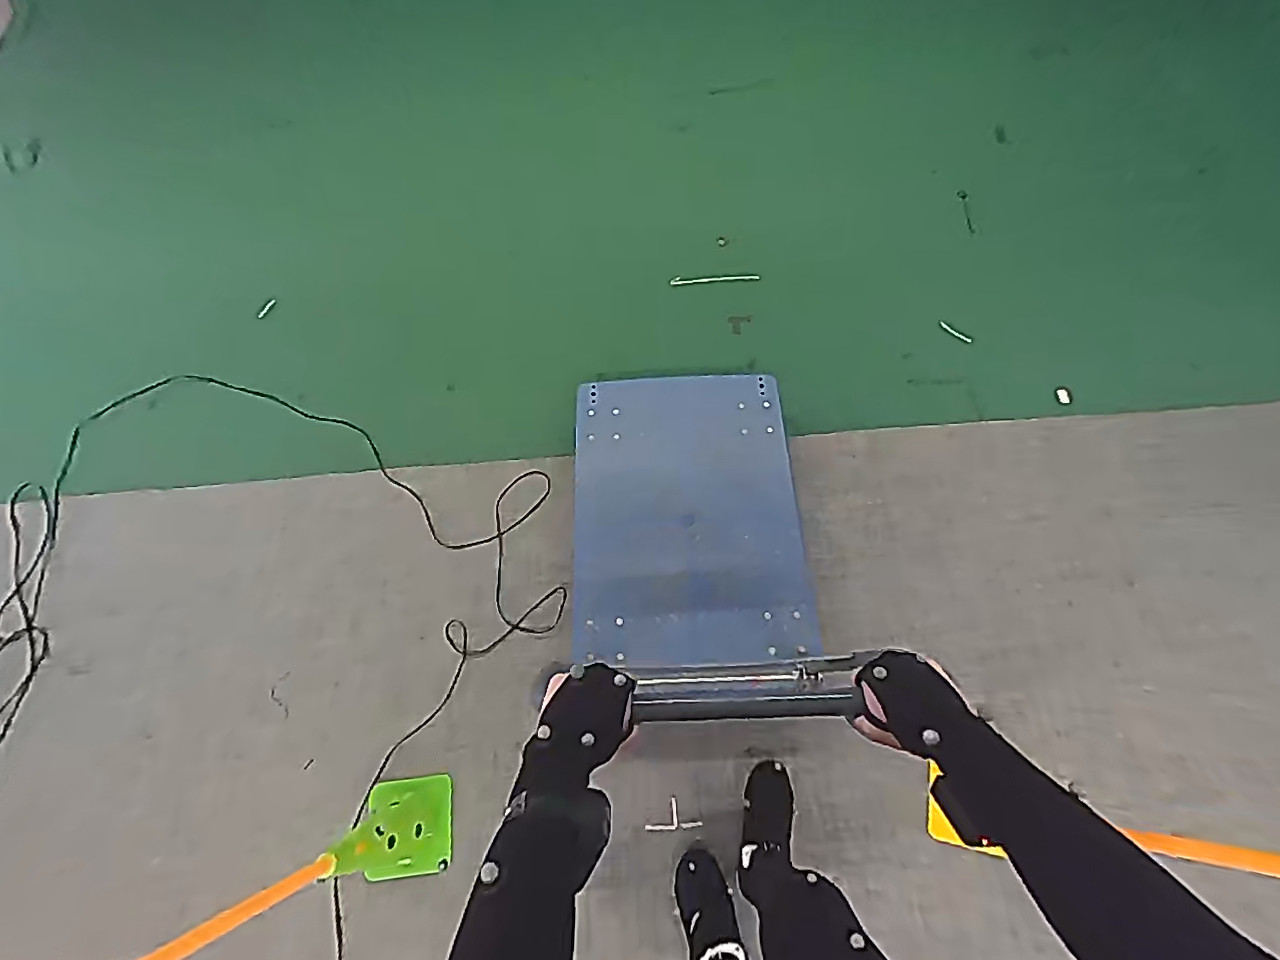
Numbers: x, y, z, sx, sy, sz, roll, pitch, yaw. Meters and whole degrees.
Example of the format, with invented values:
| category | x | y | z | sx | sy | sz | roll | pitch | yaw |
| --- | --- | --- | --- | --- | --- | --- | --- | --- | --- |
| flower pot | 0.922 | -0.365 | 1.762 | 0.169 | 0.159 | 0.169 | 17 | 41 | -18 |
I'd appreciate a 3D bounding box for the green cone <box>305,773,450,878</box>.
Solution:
| category | x | y | z | sx | sy | sz | roll | pitch | yaw |
| --- | --- | --- | --- | --- | --- | --- | --- | --- | --- |
| green cone | -0.562 | 0.751 | 1.129 | 0.202 | 0.368 | 0.200 | -9 | 66 | 1 |
